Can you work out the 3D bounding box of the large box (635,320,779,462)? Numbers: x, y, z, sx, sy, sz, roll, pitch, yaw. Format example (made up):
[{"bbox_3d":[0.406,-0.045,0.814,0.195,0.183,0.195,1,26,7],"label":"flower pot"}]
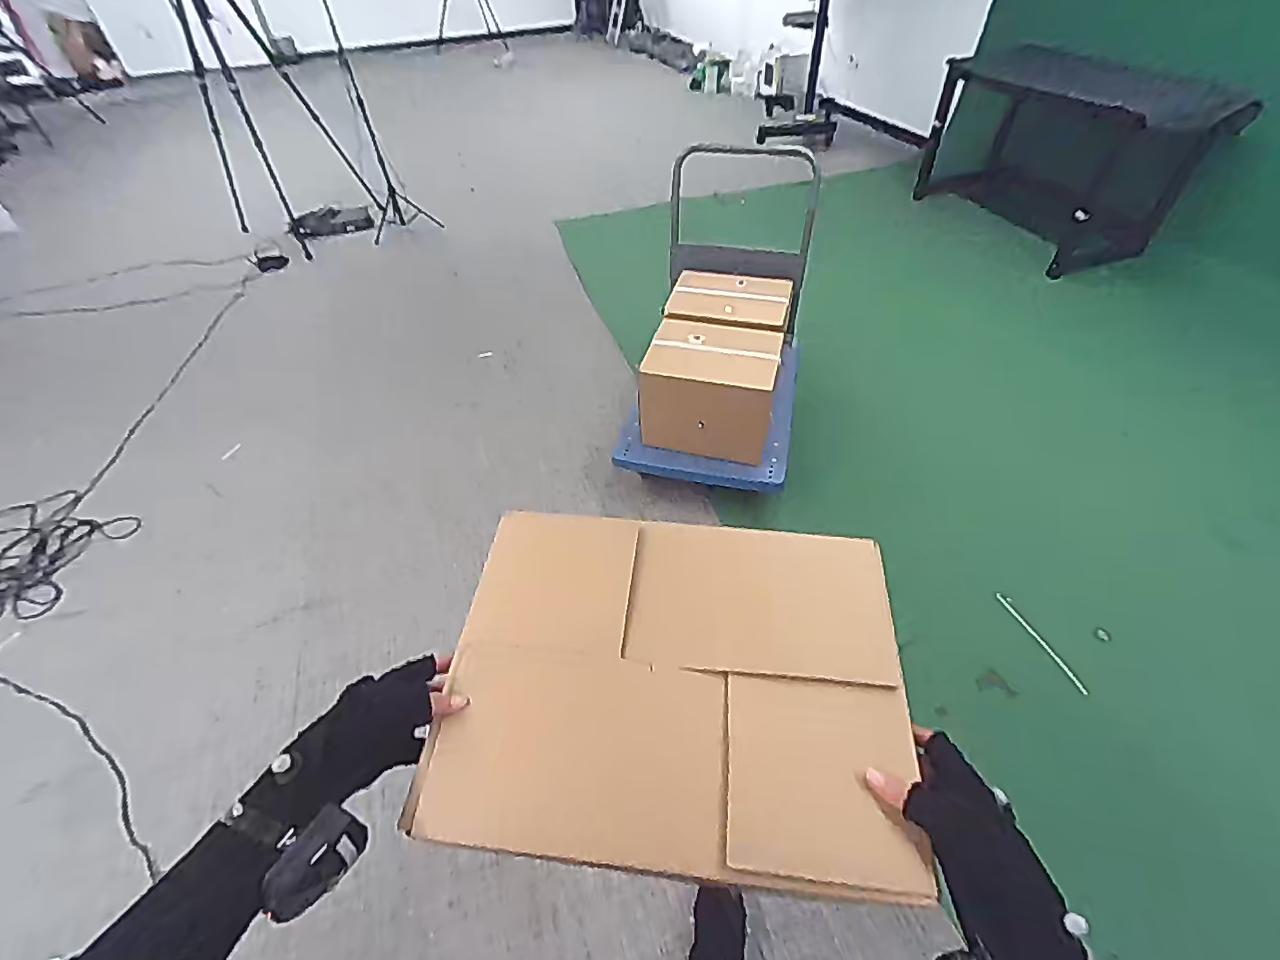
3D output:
[{"bbox_3d":[0.224,-0.292,1.777,0.408,0.320,0.320,11,48,14],"label":"large box"}]
